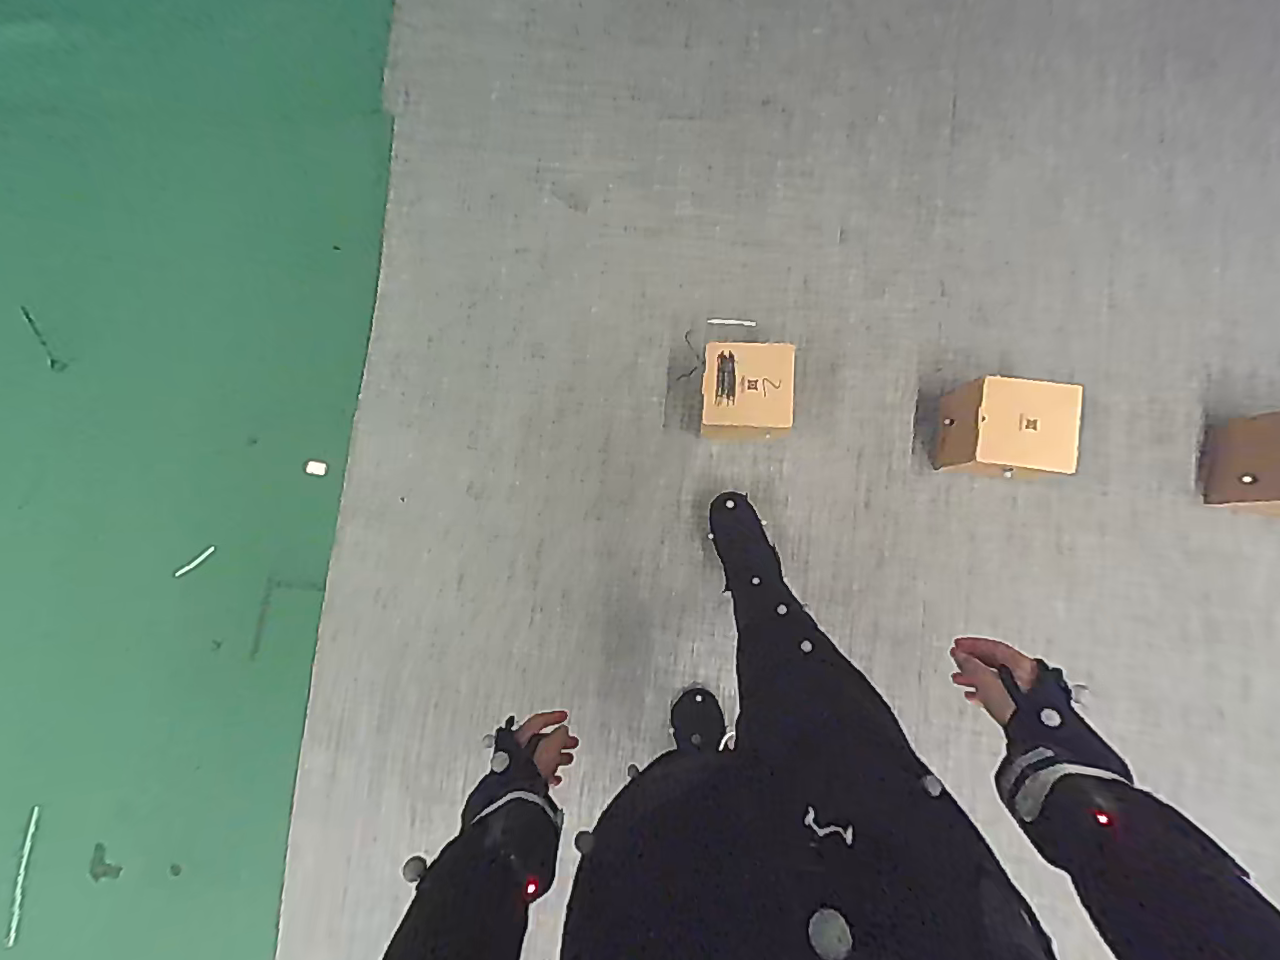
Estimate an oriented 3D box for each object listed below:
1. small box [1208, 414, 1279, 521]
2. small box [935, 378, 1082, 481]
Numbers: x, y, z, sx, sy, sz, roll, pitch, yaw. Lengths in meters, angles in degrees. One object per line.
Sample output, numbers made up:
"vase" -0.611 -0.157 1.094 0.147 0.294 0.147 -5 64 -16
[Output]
"small box" 1.232 -0.018 1.011 0.168 0.176 0.179 12 85 5
"small box" 0.717 -0.092 1.068 0.179 0.176 0.168 8 86 7
